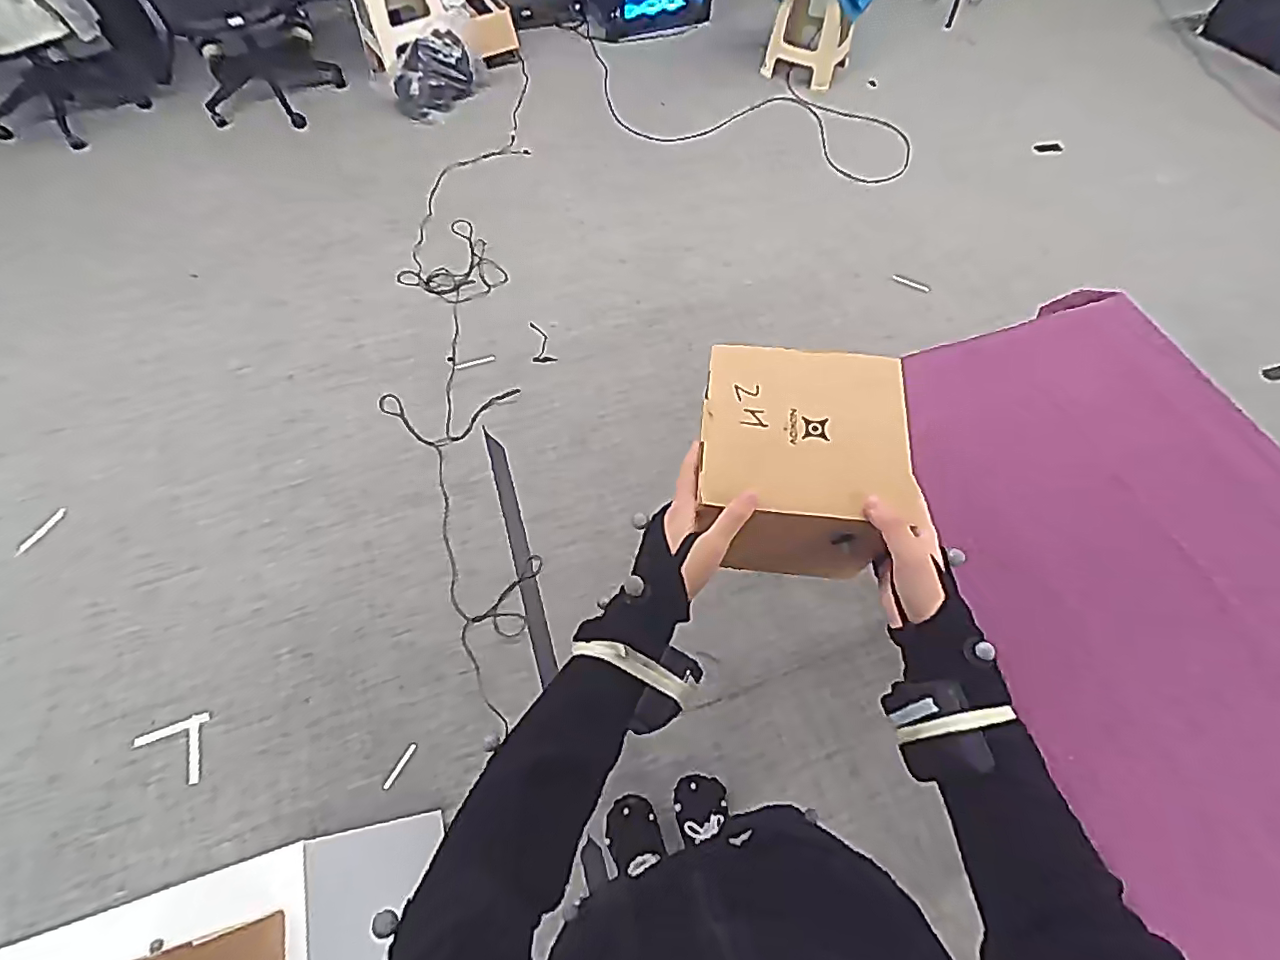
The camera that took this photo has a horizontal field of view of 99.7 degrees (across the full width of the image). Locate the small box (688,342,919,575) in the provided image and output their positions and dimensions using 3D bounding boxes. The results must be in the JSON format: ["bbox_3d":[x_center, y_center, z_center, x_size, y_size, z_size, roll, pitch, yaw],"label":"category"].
[{"bbox_3d":[0.145,-0.011,0.532,0.179,0.176,0.168,5,65,5],"label":"small box"}]

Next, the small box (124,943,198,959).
[{"bbox_3d":[-0.506,0.514,0.427,0.179,0.176,0.168,-14,64,-7],"label":"small box"}]
